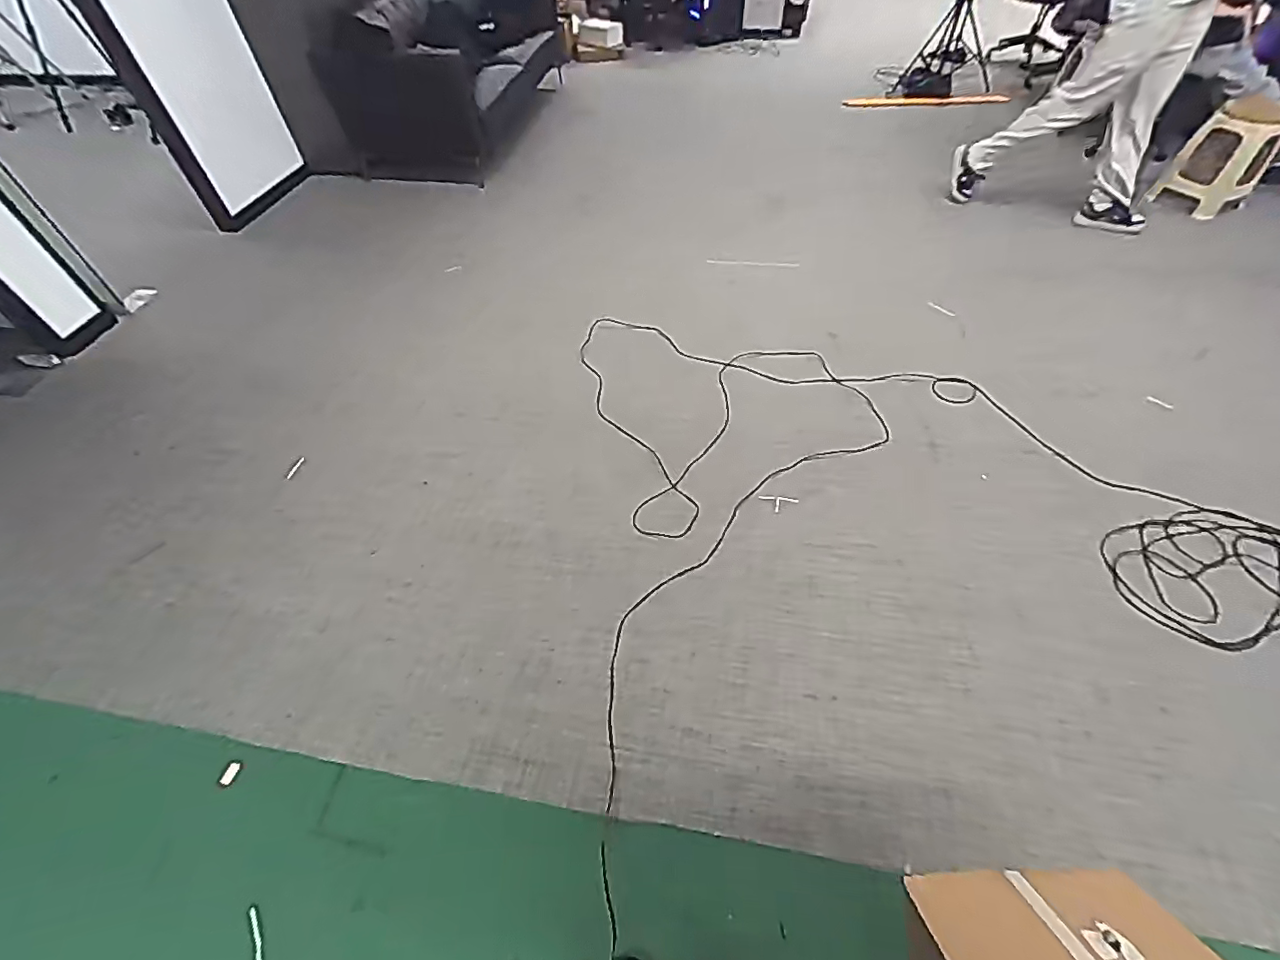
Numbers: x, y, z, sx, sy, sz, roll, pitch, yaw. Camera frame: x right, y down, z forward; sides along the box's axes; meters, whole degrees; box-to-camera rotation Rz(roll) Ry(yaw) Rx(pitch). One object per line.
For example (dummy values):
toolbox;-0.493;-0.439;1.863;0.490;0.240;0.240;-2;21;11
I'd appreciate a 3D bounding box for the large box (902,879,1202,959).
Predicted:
large box;0.550;0.750;0.608;0.320;0.408;0.320;-5;88;5
